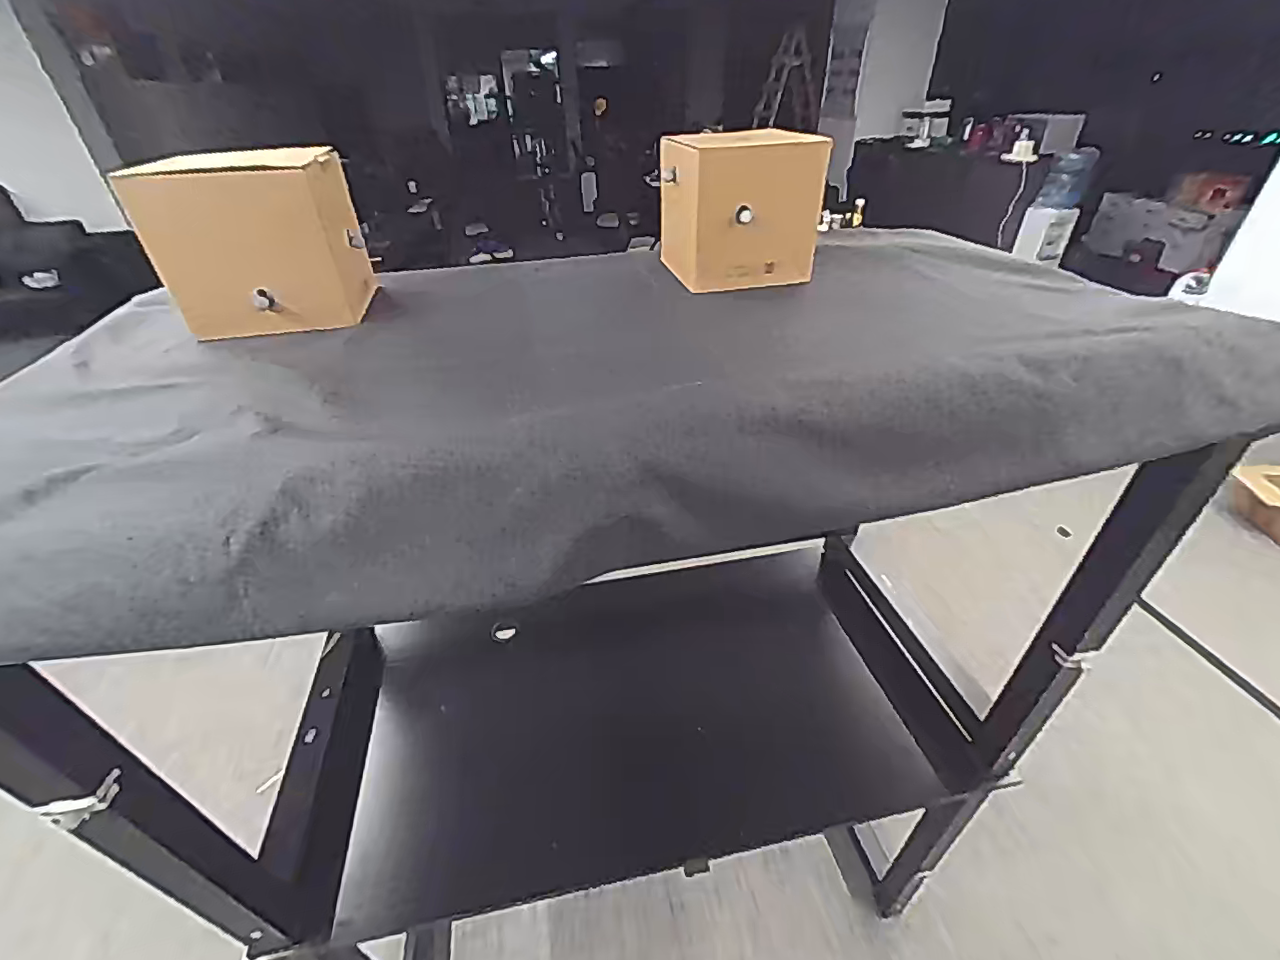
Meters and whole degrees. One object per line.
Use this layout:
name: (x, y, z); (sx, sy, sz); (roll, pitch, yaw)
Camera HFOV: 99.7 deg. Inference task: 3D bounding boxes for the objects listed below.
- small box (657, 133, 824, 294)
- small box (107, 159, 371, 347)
small box: (0.124, -0.358, 0.731); (0.168, 0.176, 0.179); (-9, 36, -9)
small box: (-0.438, -0.269, 0.635); (0.179, 0.176, 0.168); (-9, 37, -11)
